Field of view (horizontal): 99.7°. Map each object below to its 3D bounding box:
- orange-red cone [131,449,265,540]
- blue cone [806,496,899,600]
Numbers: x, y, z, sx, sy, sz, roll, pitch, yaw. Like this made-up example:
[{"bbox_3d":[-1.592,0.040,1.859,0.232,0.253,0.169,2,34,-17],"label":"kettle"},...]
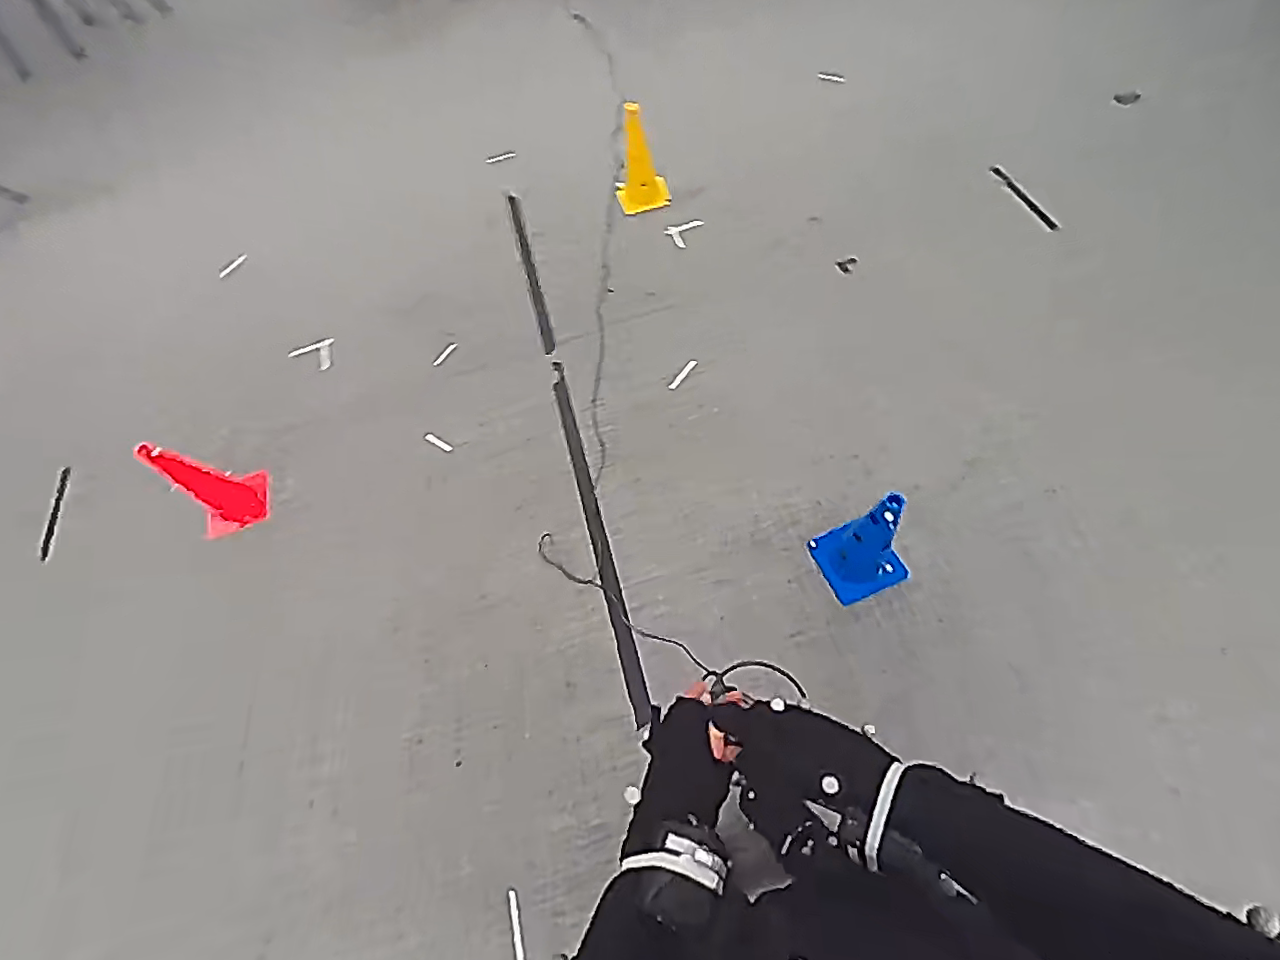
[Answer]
[{"bbox_3d":[-1.375,0.010,1.657,0.198,0.360,0.199,-22,62,-3],"label":"orange-red cone"},{"bbox_3d":[0.546,0.130,1.298,0.192,0.380,0.193,-23,61,-4],"label":"blue cone"}]
